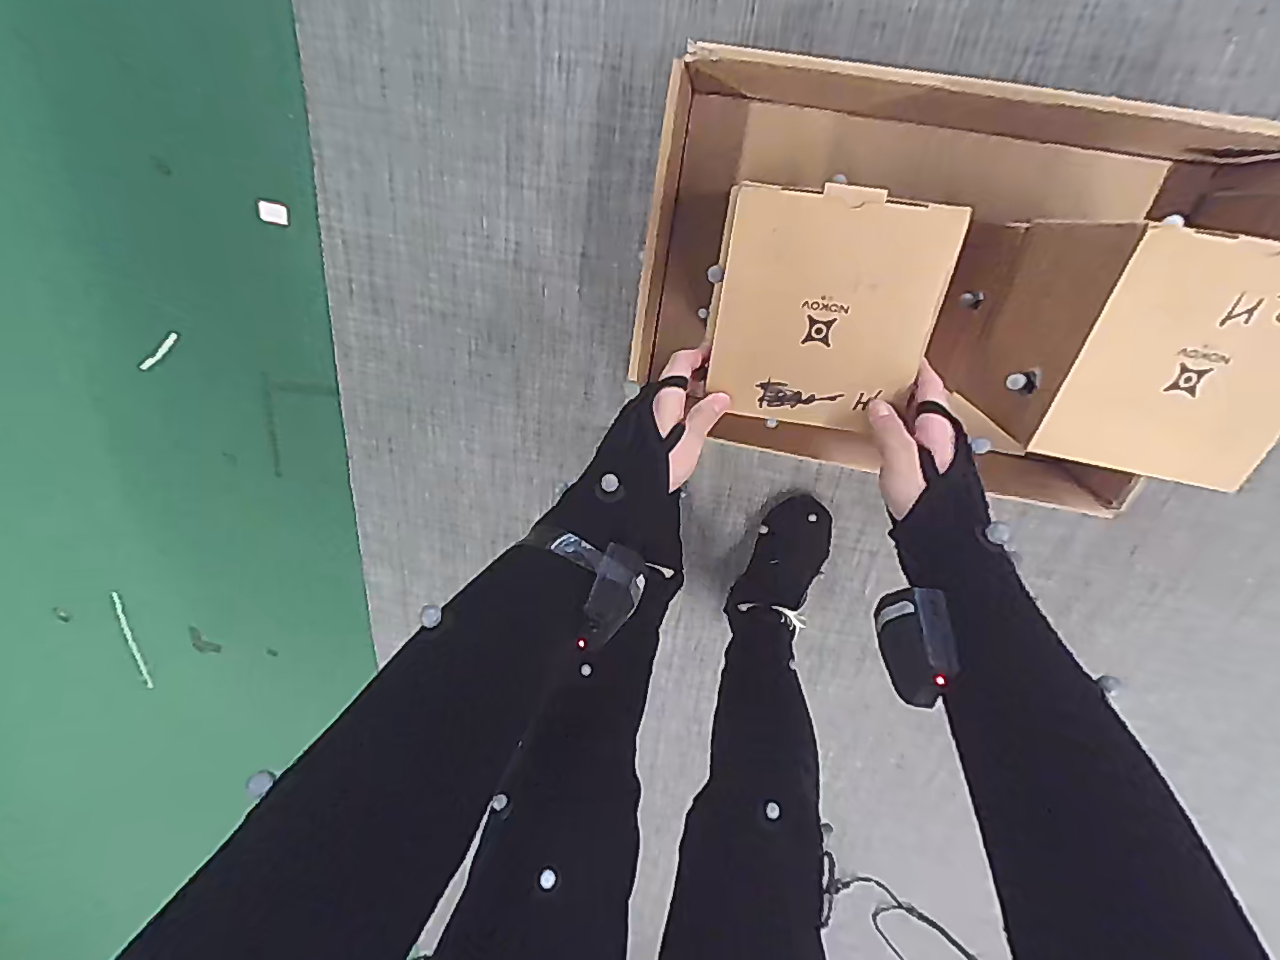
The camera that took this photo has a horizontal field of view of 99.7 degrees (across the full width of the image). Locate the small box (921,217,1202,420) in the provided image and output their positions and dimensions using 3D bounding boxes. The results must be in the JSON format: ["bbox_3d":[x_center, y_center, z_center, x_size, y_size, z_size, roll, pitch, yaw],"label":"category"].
[{"bbox_3d":[0.446,-0.191,0.617,0.168,0.176,0.179,12,118,4],"label":"small box"}]

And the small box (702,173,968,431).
[{"bbox_3d":[0.153,-0.165,0.491,0.168,0.176,0.179,10,117,5],"label":"small box"}]
